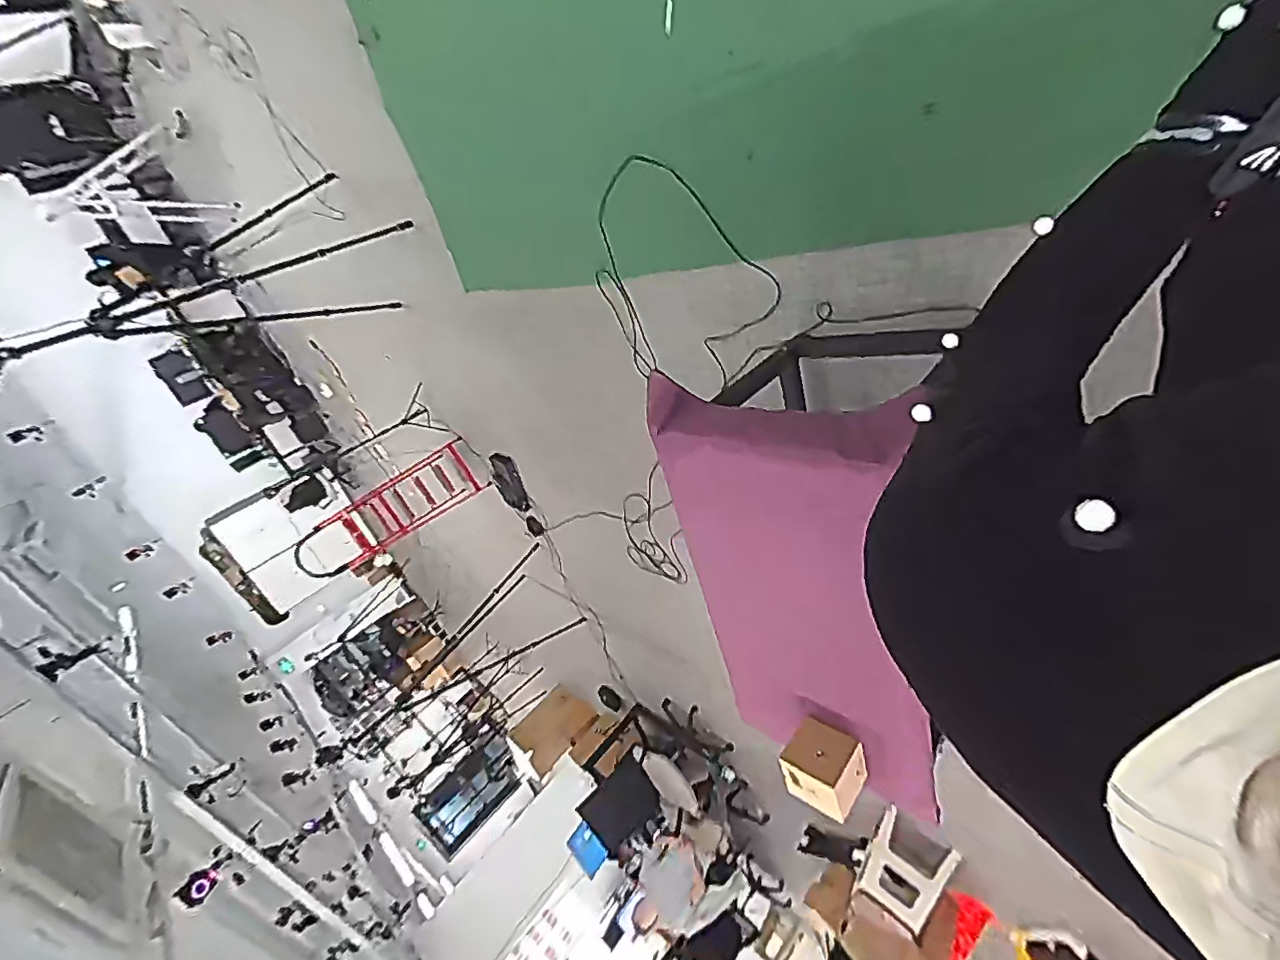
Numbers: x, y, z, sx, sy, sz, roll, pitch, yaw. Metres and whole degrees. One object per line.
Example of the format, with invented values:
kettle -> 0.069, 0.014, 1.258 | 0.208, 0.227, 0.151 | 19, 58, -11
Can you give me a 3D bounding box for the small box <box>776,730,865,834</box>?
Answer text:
small box -> 0.523, 0.859, 1.561 | 0.179, 0.176, 0.168 | 9, 128, 44
